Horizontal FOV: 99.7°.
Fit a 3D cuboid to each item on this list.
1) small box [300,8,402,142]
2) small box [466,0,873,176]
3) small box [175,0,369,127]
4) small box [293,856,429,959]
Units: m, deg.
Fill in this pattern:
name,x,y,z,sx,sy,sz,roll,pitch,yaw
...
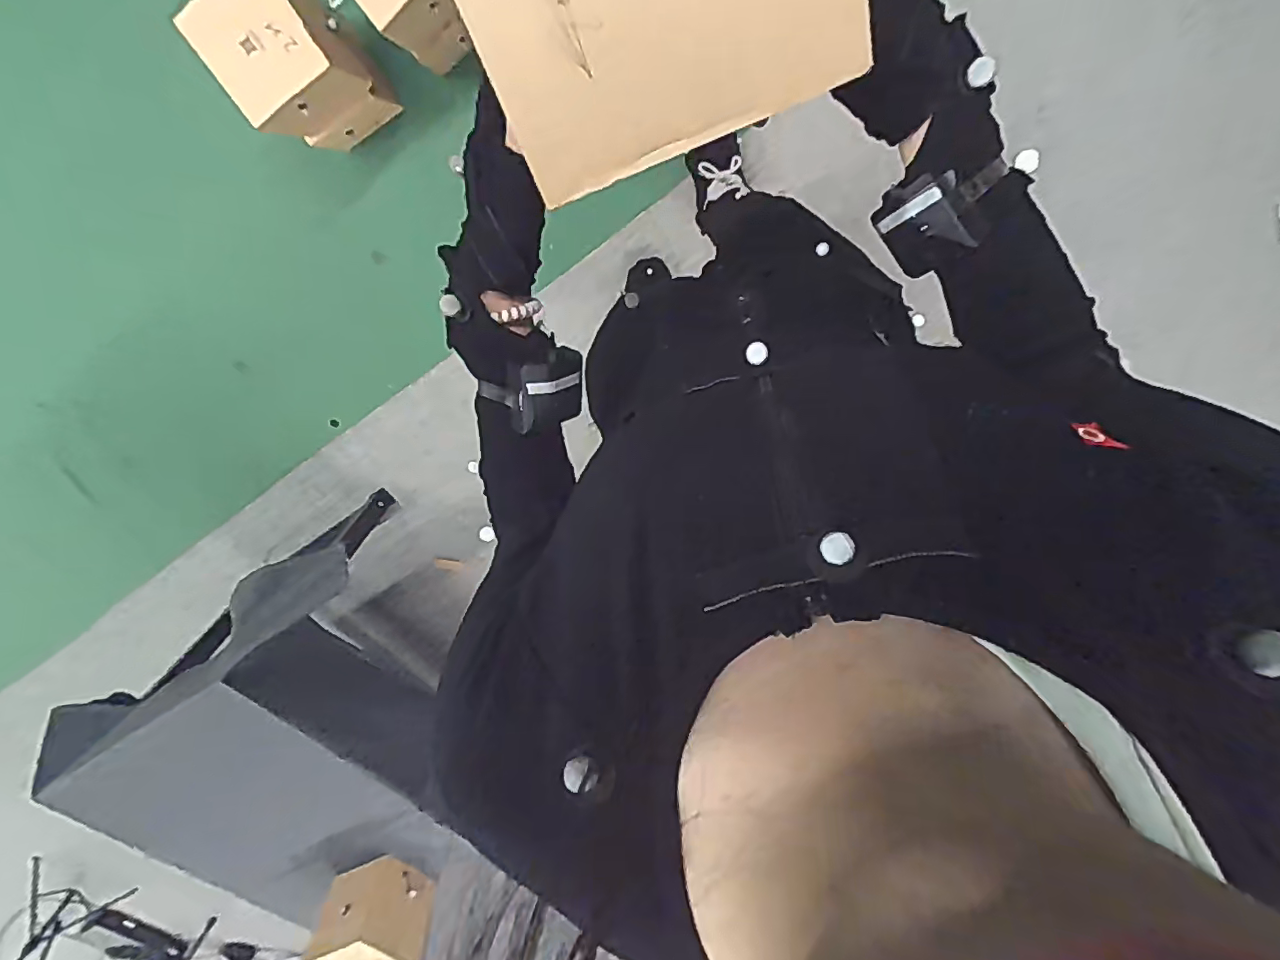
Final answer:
name,x,y,z,sx,sy,sz,roll,pitch,yaw
small box,-0.610,-0.799,1.069,0.168,0.176,0.179,-26,115,12
small box,-0.002,-0.293,0.282,0.179,0.176,0.168,-17,127,11
small box,-0.605,-0.732,0.917,0.179,0.176,0.168,-26,115,13
small box,-0.599,0.973,1.188,0.179,0.176,0.168,-30,115,13
